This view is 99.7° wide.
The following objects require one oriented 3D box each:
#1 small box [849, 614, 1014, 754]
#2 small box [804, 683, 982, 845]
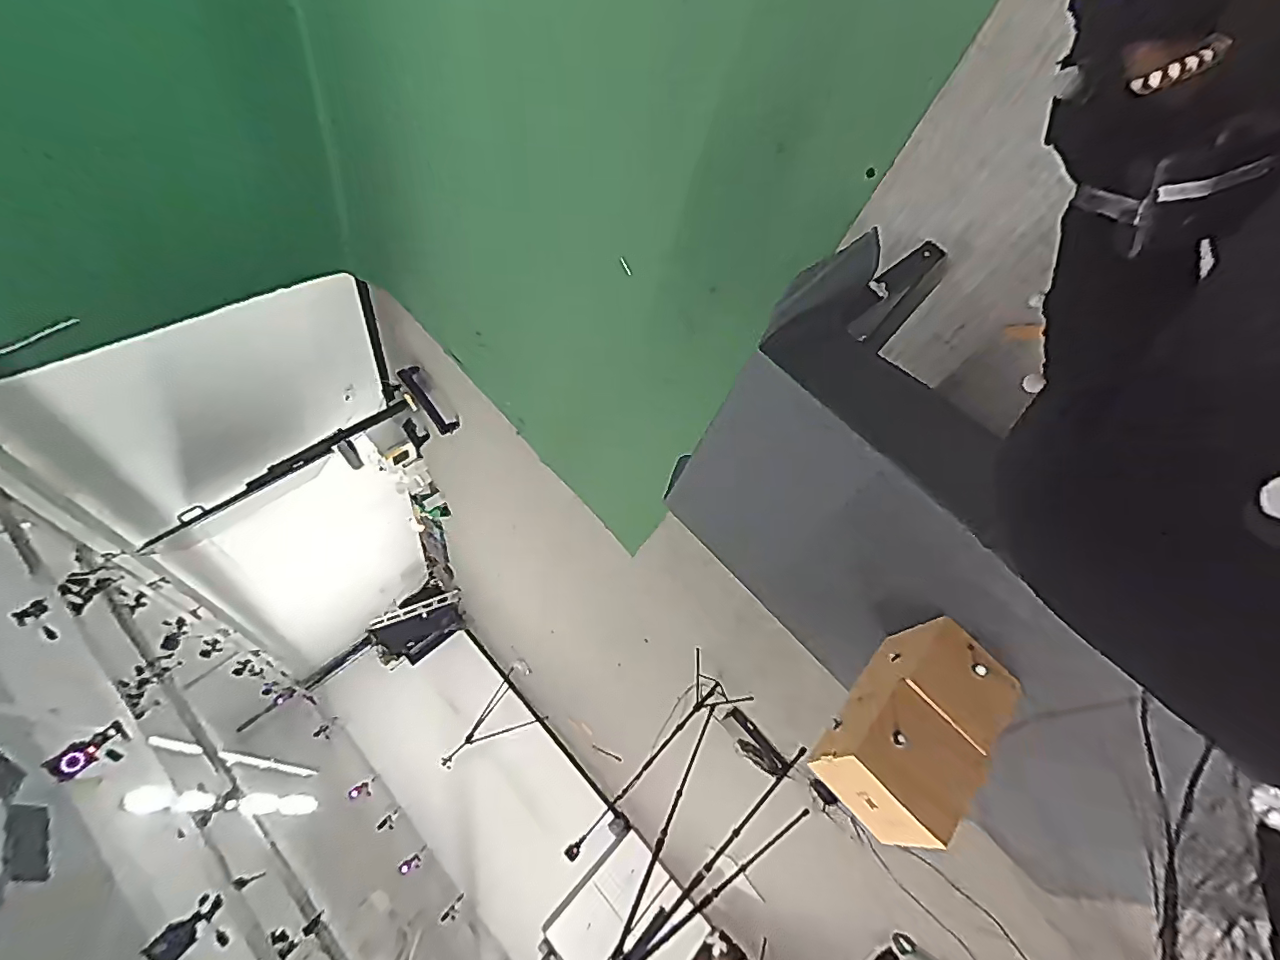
[{"bbox_3d":[0.529,0.375,0.985,0.168,0.176,0.179,46,148,12],"label":"small box"},{"bbox_3d":[0.418,0.464,0.903,0.179,0.176,0.168,45,149,14],"label":"small box"}]
